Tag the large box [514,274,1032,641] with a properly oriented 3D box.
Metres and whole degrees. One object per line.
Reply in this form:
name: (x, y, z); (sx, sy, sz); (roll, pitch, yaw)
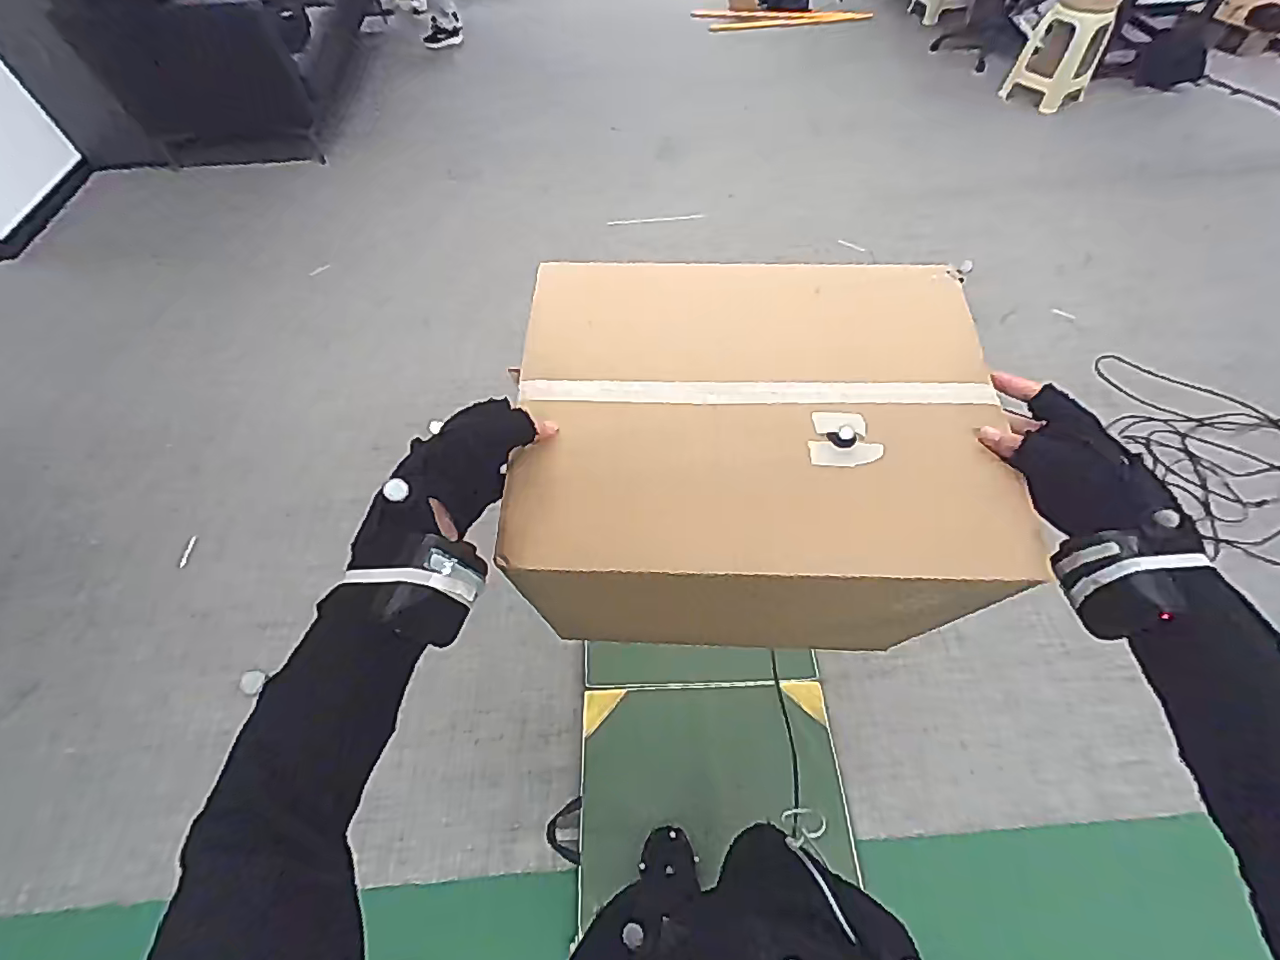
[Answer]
large box: (0.101, -0.004, 0.608); (0.408, 0.320, 0.320); (1, 64, 1)
